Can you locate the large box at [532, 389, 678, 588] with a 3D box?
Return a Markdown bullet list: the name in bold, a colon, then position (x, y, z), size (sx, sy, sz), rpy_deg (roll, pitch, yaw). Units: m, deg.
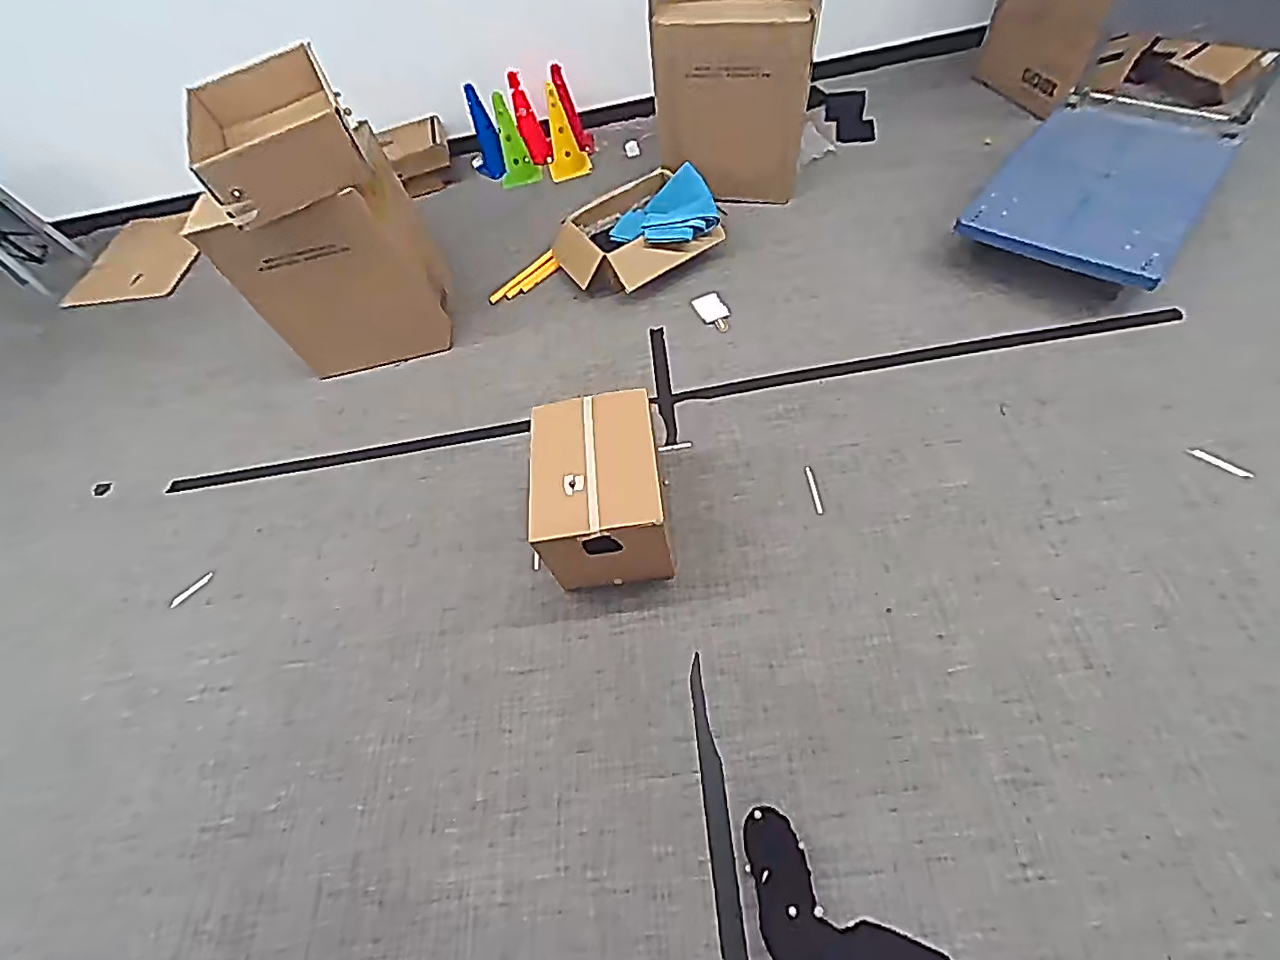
- **large box**: position (-0.088, 0.029, 1.433), size (0.320, 0.320, 0.408), rpy_deg (-10, 58, 5)
